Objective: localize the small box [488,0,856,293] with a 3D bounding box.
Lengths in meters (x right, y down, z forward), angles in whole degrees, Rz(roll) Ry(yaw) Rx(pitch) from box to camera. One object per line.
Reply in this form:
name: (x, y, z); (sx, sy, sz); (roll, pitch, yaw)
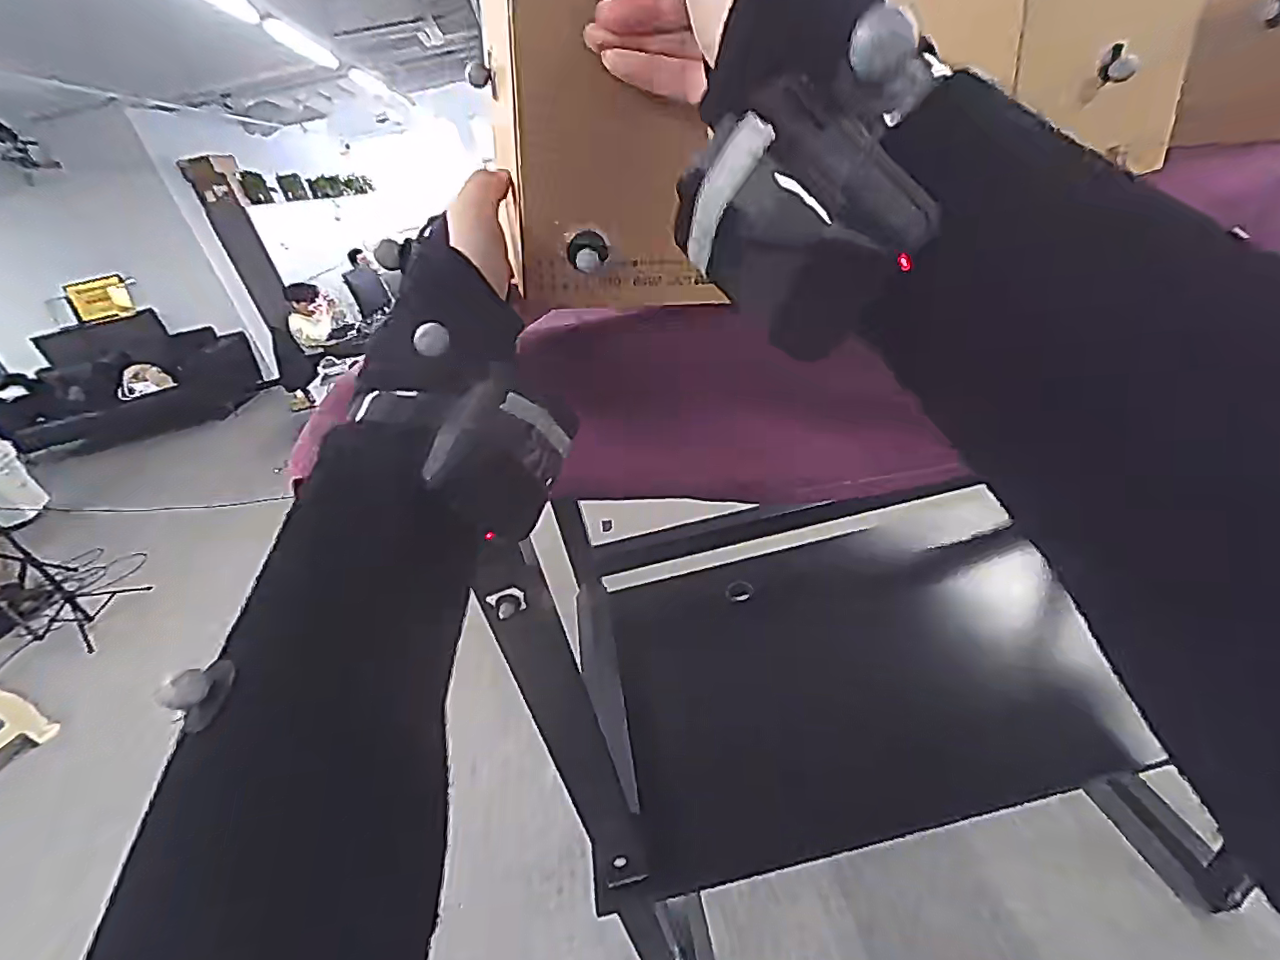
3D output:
small box: (0.003, -0.220, 0.322); (0.168, 0.176, 0.179); (-6, 40, -15)
